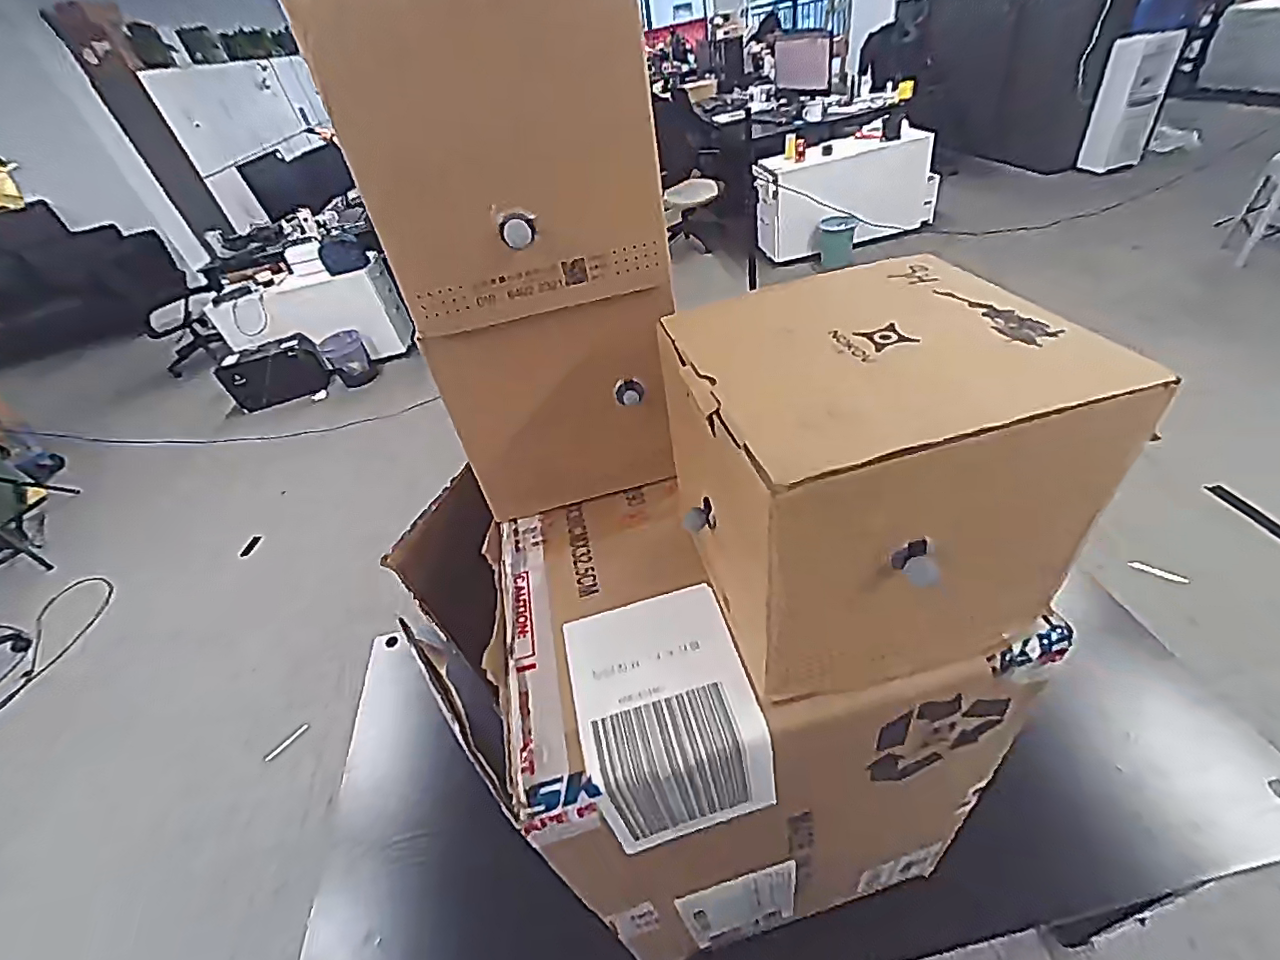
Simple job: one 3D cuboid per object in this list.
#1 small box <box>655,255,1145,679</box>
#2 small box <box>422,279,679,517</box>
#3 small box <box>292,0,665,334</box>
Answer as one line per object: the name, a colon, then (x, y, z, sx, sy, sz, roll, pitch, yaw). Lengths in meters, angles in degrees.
small box: (0.122, -0.007, 0.327, 0.179, 0.176, 0.168, -16, 42, -4)
small box: (-0.065, -0.094, 0.475, 0.179, 0.176, 0.168, -16, 37, -4)
small box: (-0.088, -0.219, 0.369, 0.168, 0.176, 0.179, -15, 38, -4)
